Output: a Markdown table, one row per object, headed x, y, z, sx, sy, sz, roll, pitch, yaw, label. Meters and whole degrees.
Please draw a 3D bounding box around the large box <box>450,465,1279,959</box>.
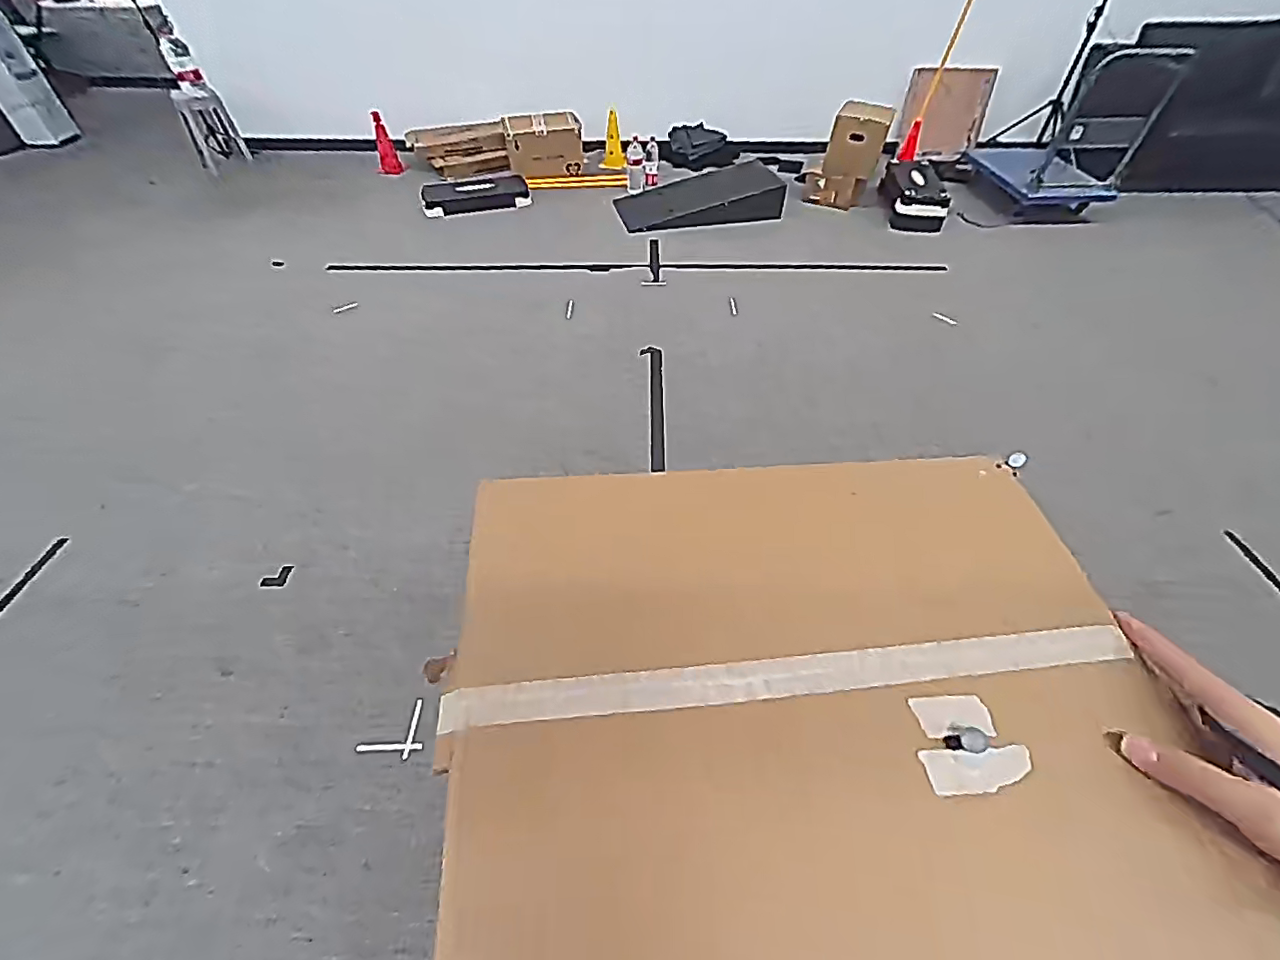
| x | y | z | sx | sy | sz | roll | pitch | yaw | label |
| --- | --- | --- | --- | --- | --- | --- | --- | --- | --- |
| 0.090 | 0.210 | 0.437 | 0.408 | 0.320 | 0.320 | -2 | 52 | -7 | large box |
